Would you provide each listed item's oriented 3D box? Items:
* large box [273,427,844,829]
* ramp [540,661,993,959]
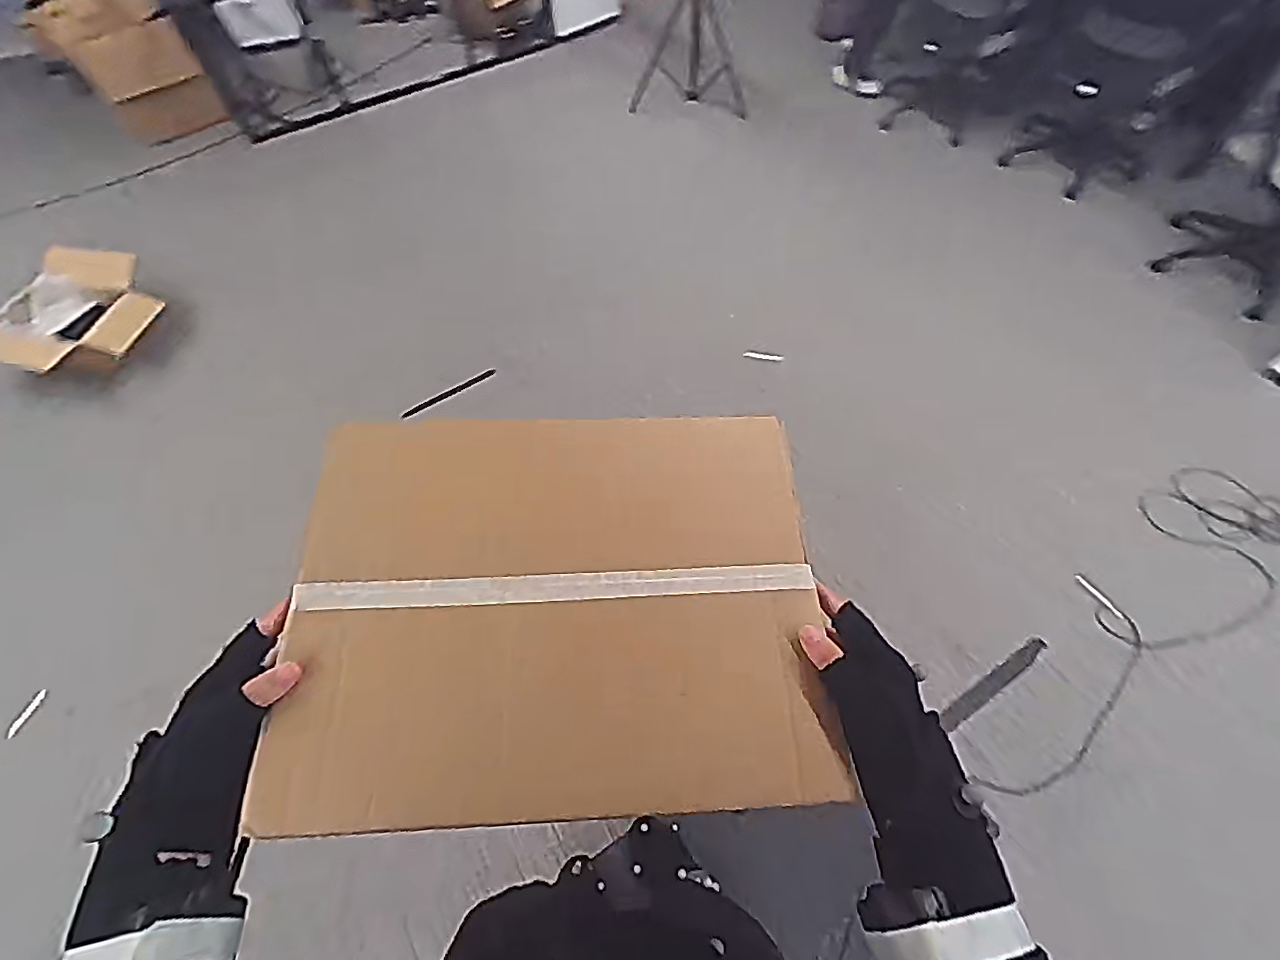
[{"bbox_3d":[-0.061,0.157,0.572,0.408,0.320,0.320,-1,63,-2],"label":"large box"},{"bbox_3d":[0.325,0.871,1.243,0.991,0.206,0.509,-31,61,-15],"label":"ramp"}]
